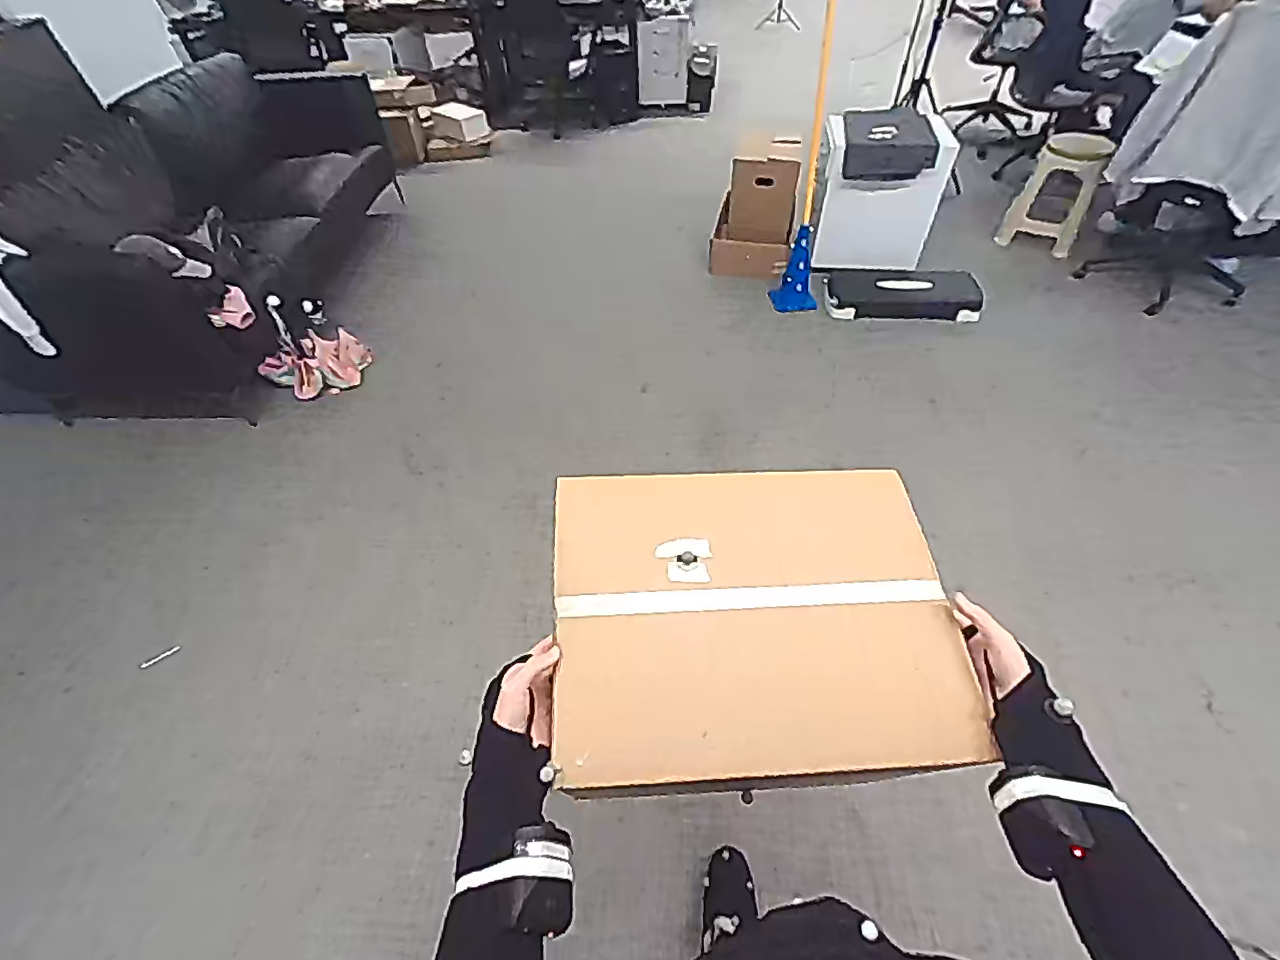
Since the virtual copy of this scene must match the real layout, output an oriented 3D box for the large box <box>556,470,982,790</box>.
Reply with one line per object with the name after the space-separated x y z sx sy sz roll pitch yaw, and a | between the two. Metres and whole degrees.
0.111 0.205 0.692 0.408 0.320 0.320 -2 58 -3 | large box
